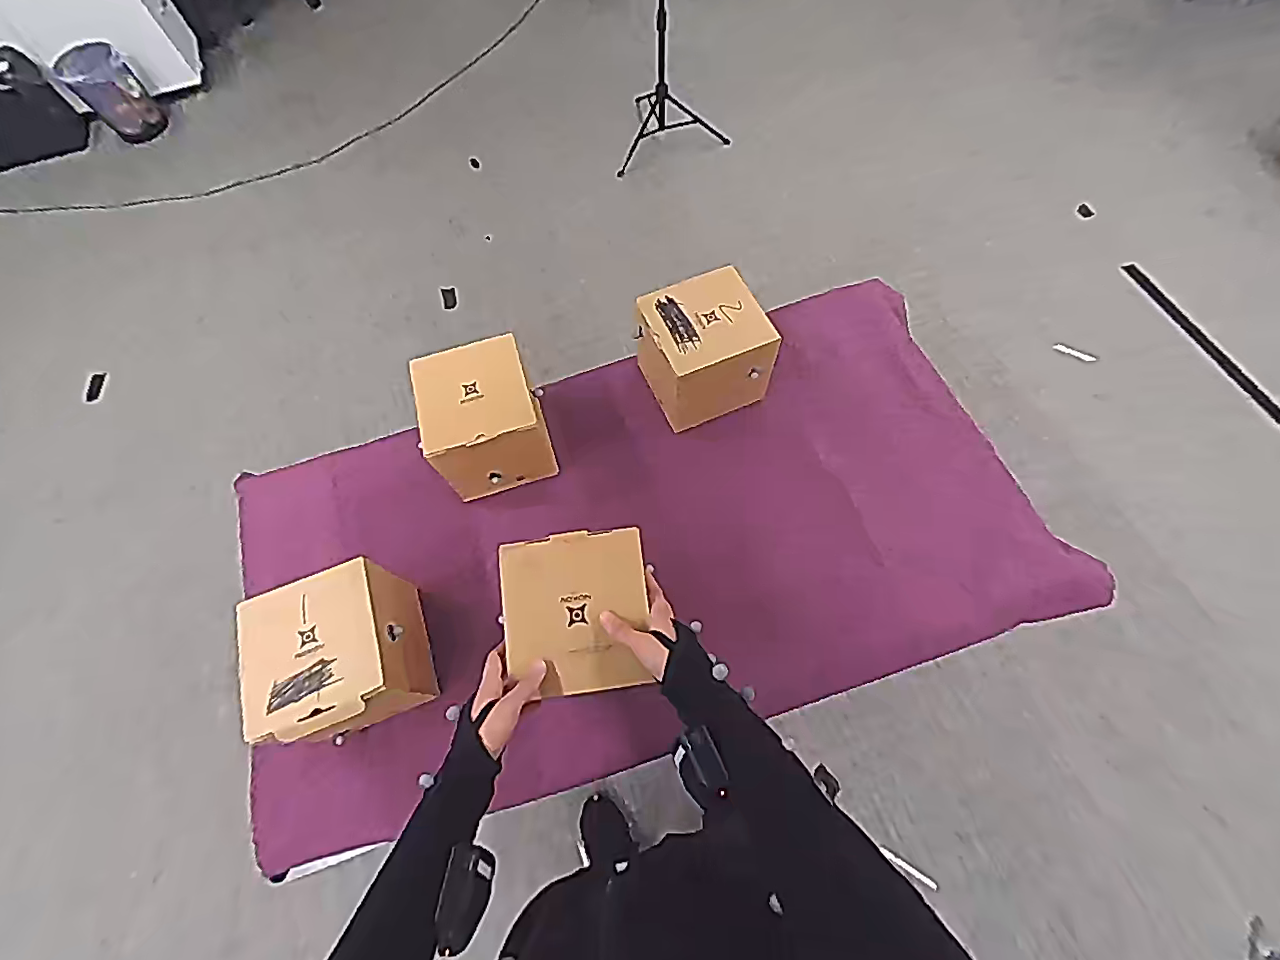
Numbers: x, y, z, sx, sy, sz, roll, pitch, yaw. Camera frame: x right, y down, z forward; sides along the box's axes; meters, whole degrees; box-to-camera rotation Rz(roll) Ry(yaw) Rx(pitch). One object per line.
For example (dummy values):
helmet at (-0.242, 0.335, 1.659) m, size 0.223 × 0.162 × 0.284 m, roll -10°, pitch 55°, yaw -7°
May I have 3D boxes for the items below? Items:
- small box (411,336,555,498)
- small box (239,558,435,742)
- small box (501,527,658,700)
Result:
small box at (-0.245, -0.096, 0.870) m, size 0.168 × 0.176 × 0.179 m, roll -17°, pitch 67°, yaw -5°
small box at (-0.399, 0.233, 0.733) m, size 0.168 × 0.176 × 0.179 m, roll -21°, pitch 65°, yaw -7°
small box at (-0.073, 0.167, 0.683) m, size 0.168 × 0.176 × 0.179 m, roll -7°, pitch 75°, yaw -3°
